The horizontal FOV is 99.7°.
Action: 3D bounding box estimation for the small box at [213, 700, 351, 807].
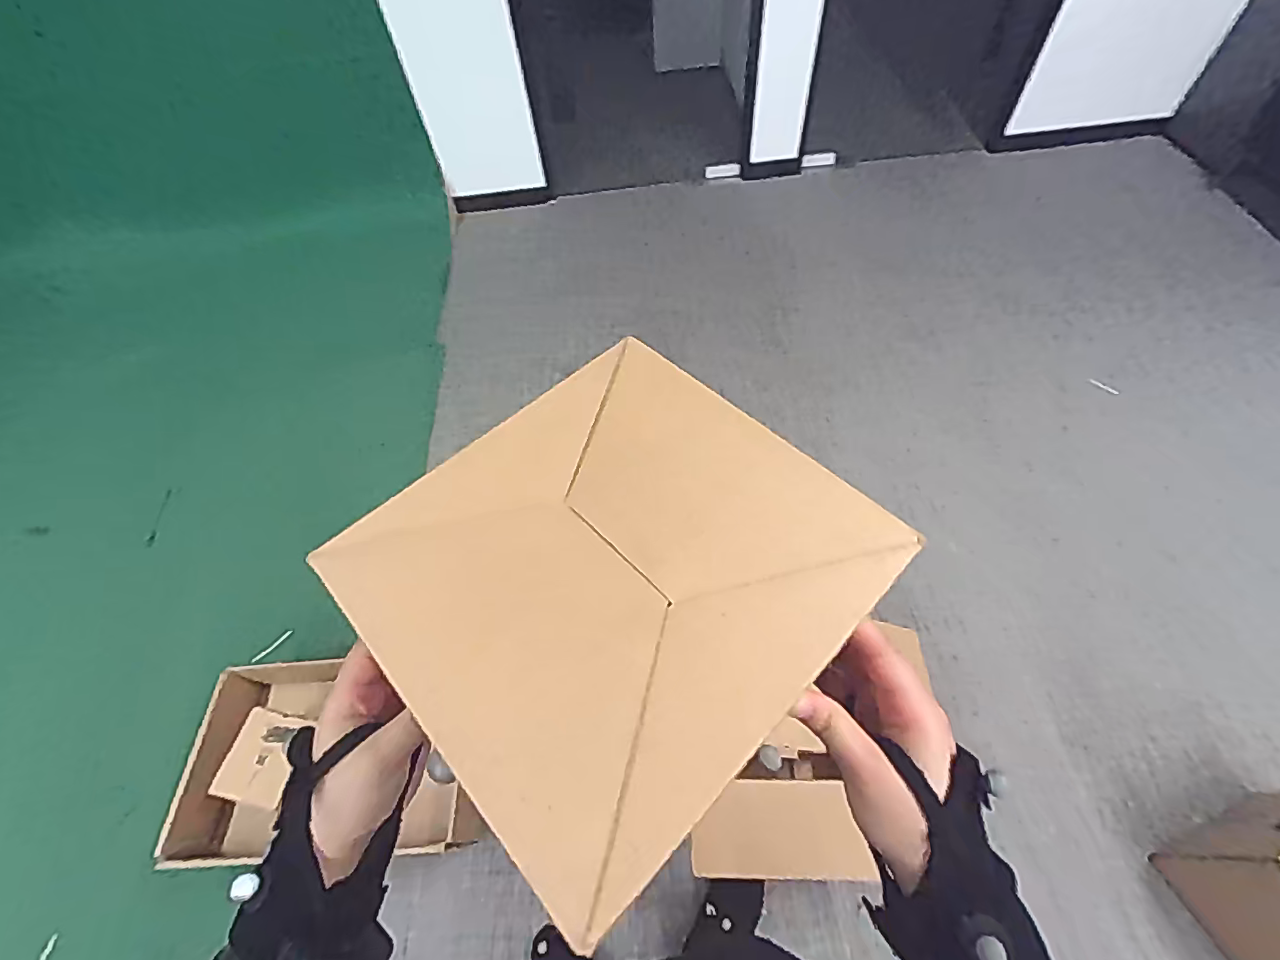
[{"bbox_3d":[-0.798,0.626,1.233,0.168,0.176,0.179,9,57,9],"label":"small box"}]
